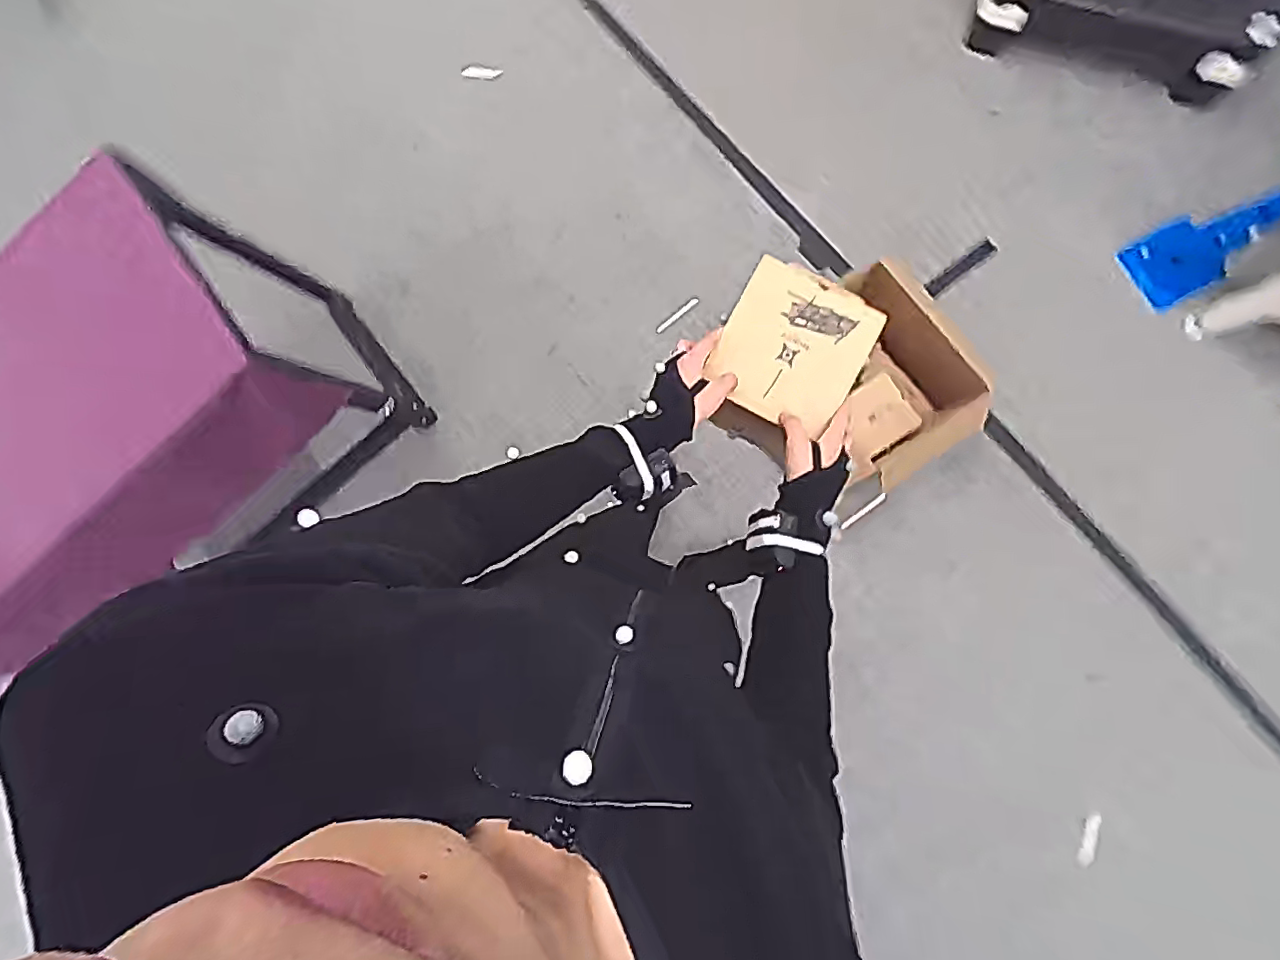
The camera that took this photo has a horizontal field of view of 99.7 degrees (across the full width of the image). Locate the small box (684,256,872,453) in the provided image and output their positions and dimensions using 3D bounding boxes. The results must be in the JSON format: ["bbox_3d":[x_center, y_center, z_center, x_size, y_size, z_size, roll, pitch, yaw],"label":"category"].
[{"bbox_3d":[0.168,-0.153,0.722,0.168,0.176,0.179,27,87,2],"label":"small box"}]
